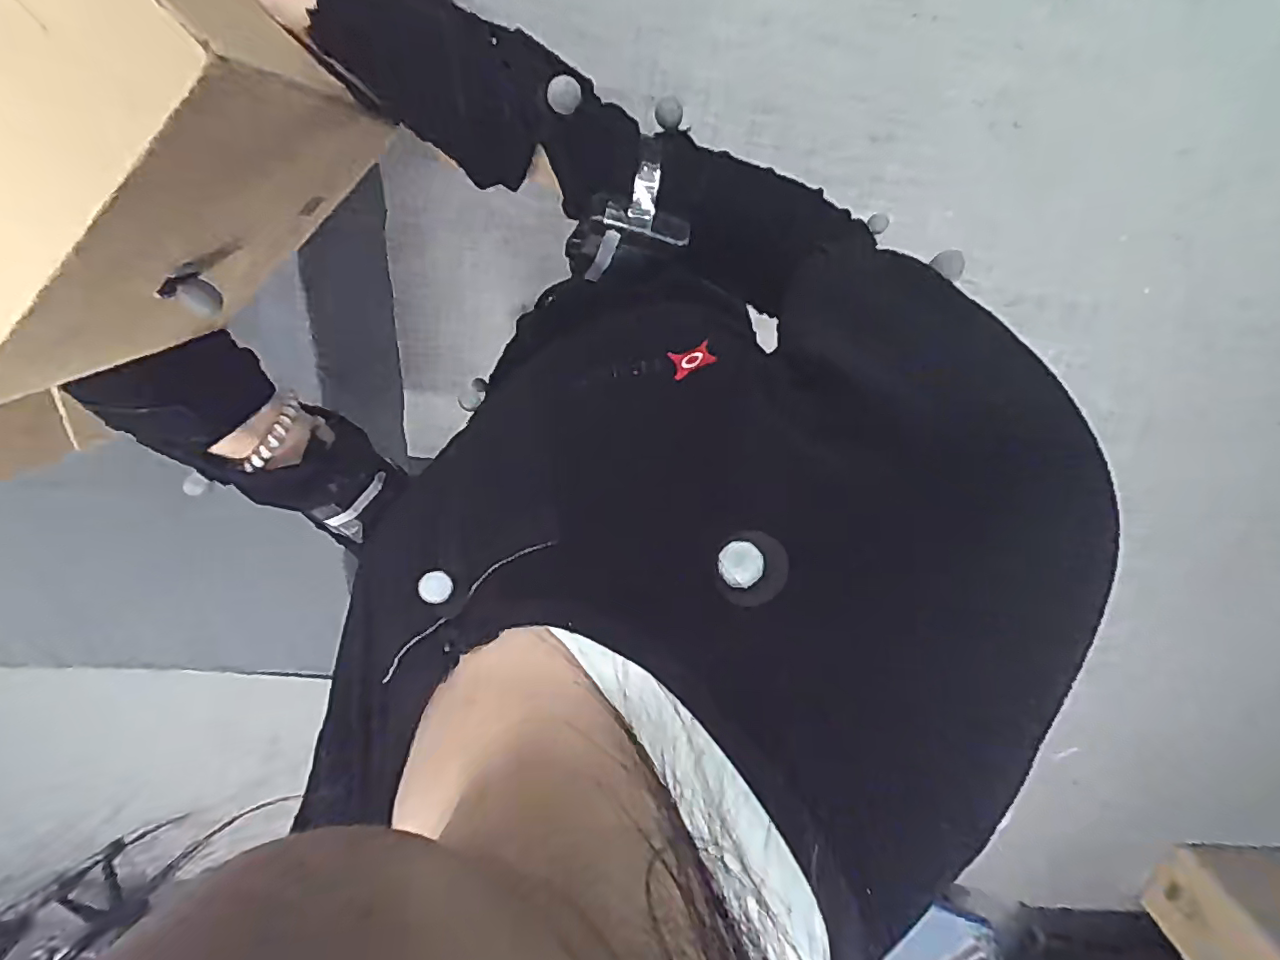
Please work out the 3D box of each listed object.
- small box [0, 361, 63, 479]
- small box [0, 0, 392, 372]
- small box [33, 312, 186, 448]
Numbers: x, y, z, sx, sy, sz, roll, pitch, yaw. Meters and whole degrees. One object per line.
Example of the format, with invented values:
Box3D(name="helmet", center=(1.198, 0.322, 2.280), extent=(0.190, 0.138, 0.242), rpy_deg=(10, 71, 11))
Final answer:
Box3D(name="small box", center=(-0.676, -0.078, 0.461), extent=(0.168, 0.176, 0.179), rpy_deg=(4, 115, -2))
Box3D(name="small box", center=(-0.232, -0.172, 0.202), extent=(0.168, 0.176, 0.179), rpy_deg=(-37, 113, 13))
Box3D(name="small box", center=(-0.675, -0.149, 0.607), extent=(0.179, 0.176, 0.168), rpy_deg=(5, 114, -4))
